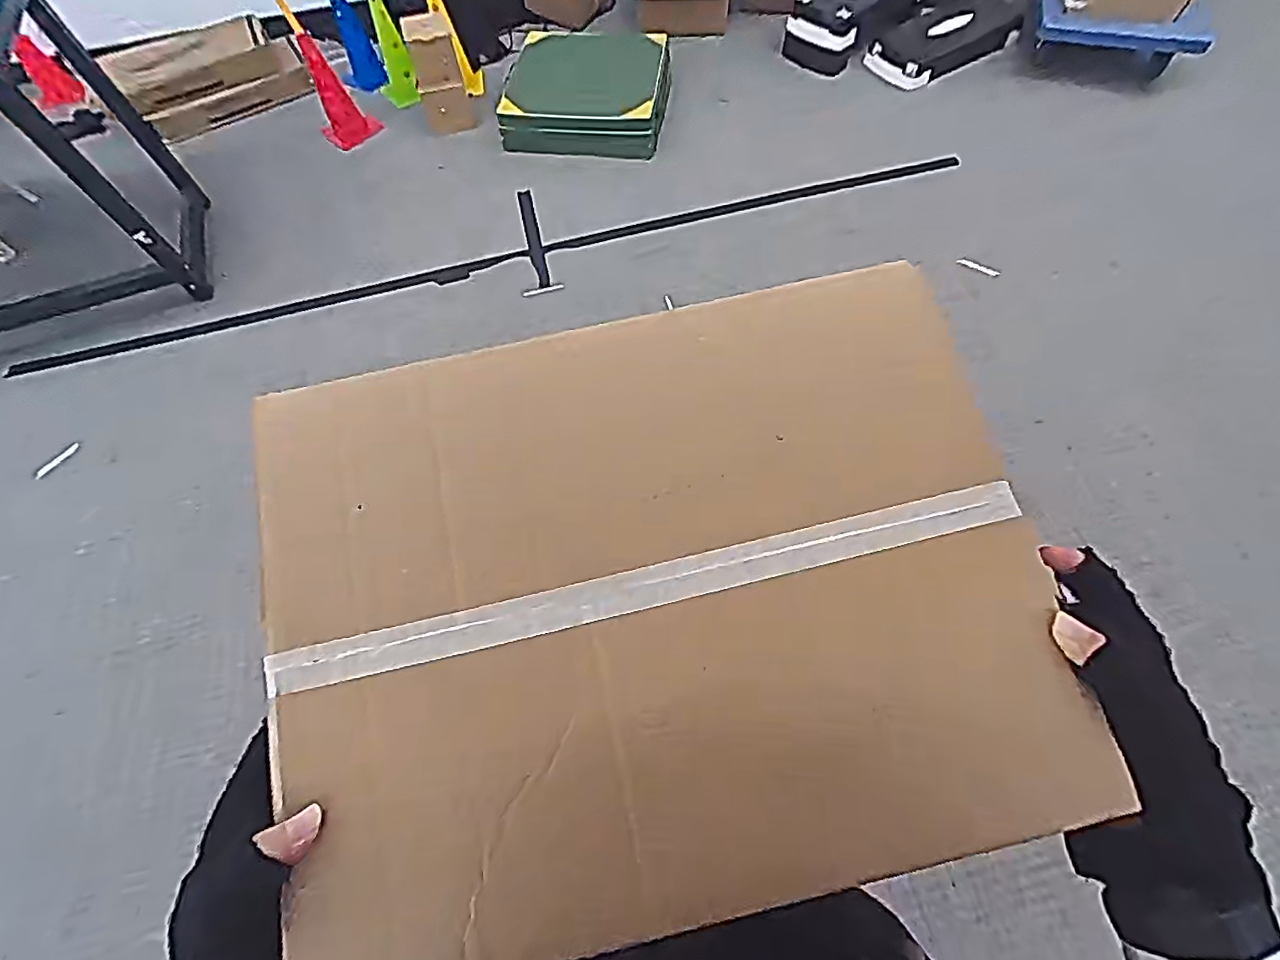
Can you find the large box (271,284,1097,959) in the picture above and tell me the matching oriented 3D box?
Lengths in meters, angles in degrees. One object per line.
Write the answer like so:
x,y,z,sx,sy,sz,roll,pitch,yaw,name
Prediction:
0.009,0.100,0.442,0.408,0.320,0.320,-13,75,-2,large box
